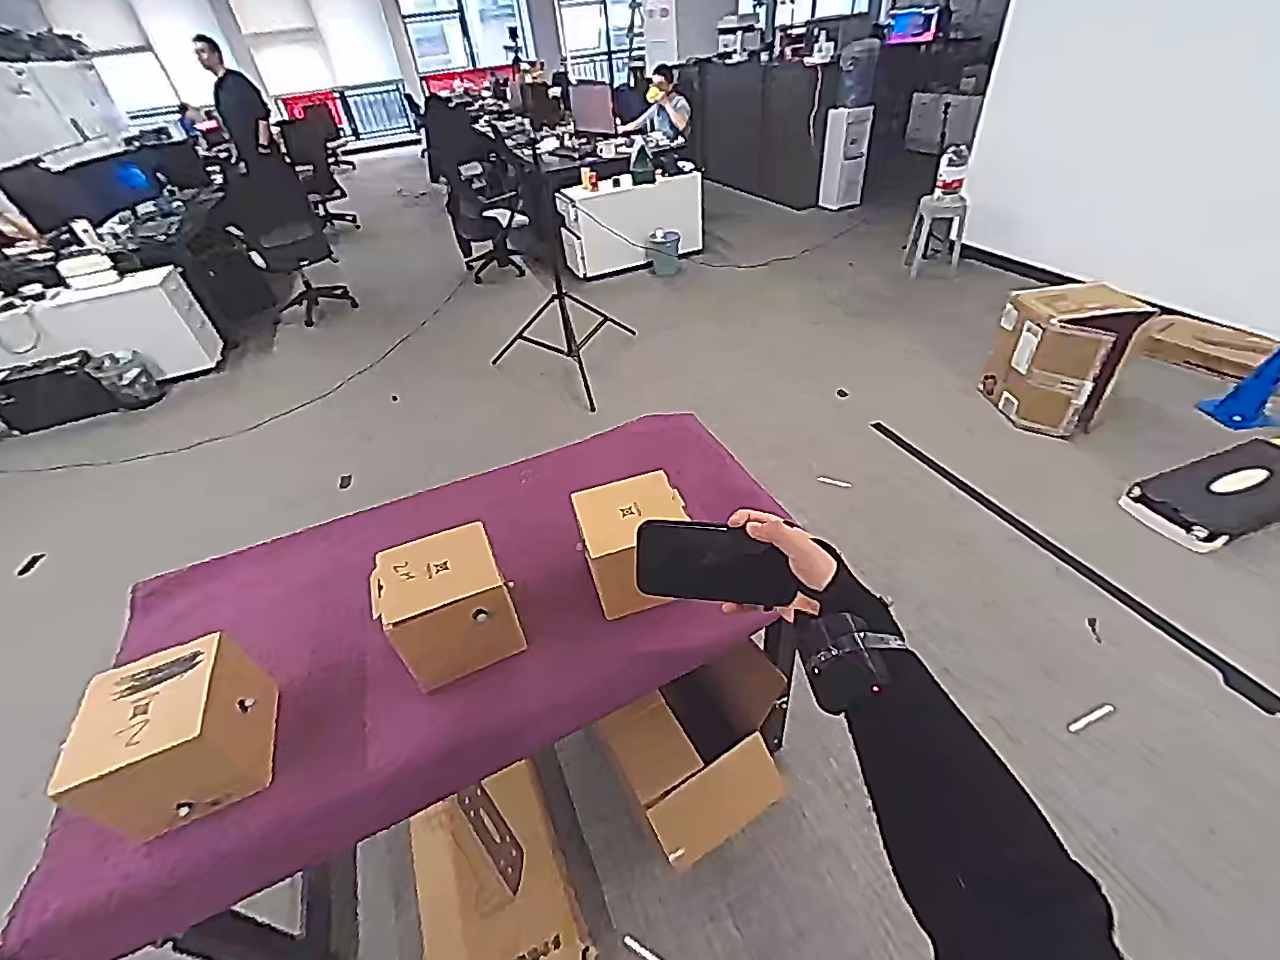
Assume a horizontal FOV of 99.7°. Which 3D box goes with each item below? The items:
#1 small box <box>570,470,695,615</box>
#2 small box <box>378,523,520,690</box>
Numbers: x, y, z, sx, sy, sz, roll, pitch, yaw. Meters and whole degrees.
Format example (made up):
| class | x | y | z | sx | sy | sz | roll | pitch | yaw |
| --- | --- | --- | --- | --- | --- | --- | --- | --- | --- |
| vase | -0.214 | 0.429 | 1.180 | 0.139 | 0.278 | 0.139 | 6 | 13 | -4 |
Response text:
| class | x | y | z | sx | sy | sz | roll | pitch | yaw |
| --- | --- | --- | --- | --- | --- | --- | --- | --- | --- |
| small box | -0.011 | 0.113 | 0.961 | 0.179 | 0.176 | 0.168 | -16 | 41 | -10 |
| small box | -0.308 | 0.207 | 0.893 | 0.179 | 0.176 | 0.168 | -21 | 39 | -15 |
